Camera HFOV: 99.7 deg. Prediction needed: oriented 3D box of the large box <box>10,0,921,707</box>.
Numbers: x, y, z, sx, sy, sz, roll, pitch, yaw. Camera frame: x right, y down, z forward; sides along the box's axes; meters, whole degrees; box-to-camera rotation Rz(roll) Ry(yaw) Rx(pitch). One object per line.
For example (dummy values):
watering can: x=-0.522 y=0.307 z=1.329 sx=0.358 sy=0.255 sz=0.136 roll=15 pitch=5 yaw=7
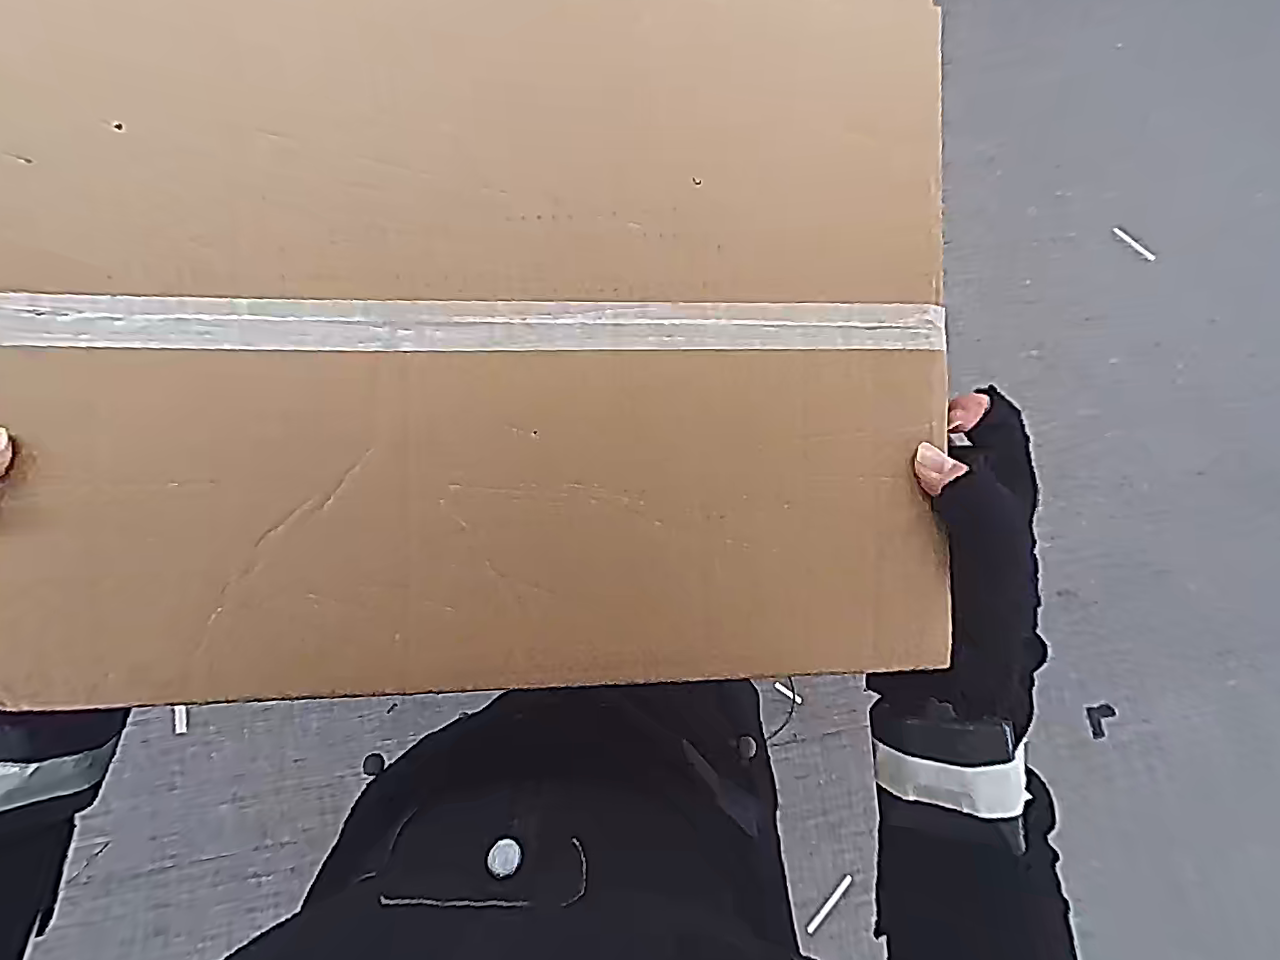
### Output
large box: x=-0.074 y=-0.062 z=0.393 sx=0.408 sy=0.320 sz=0.320 roll=-1 pitch=89 yaw=-5
